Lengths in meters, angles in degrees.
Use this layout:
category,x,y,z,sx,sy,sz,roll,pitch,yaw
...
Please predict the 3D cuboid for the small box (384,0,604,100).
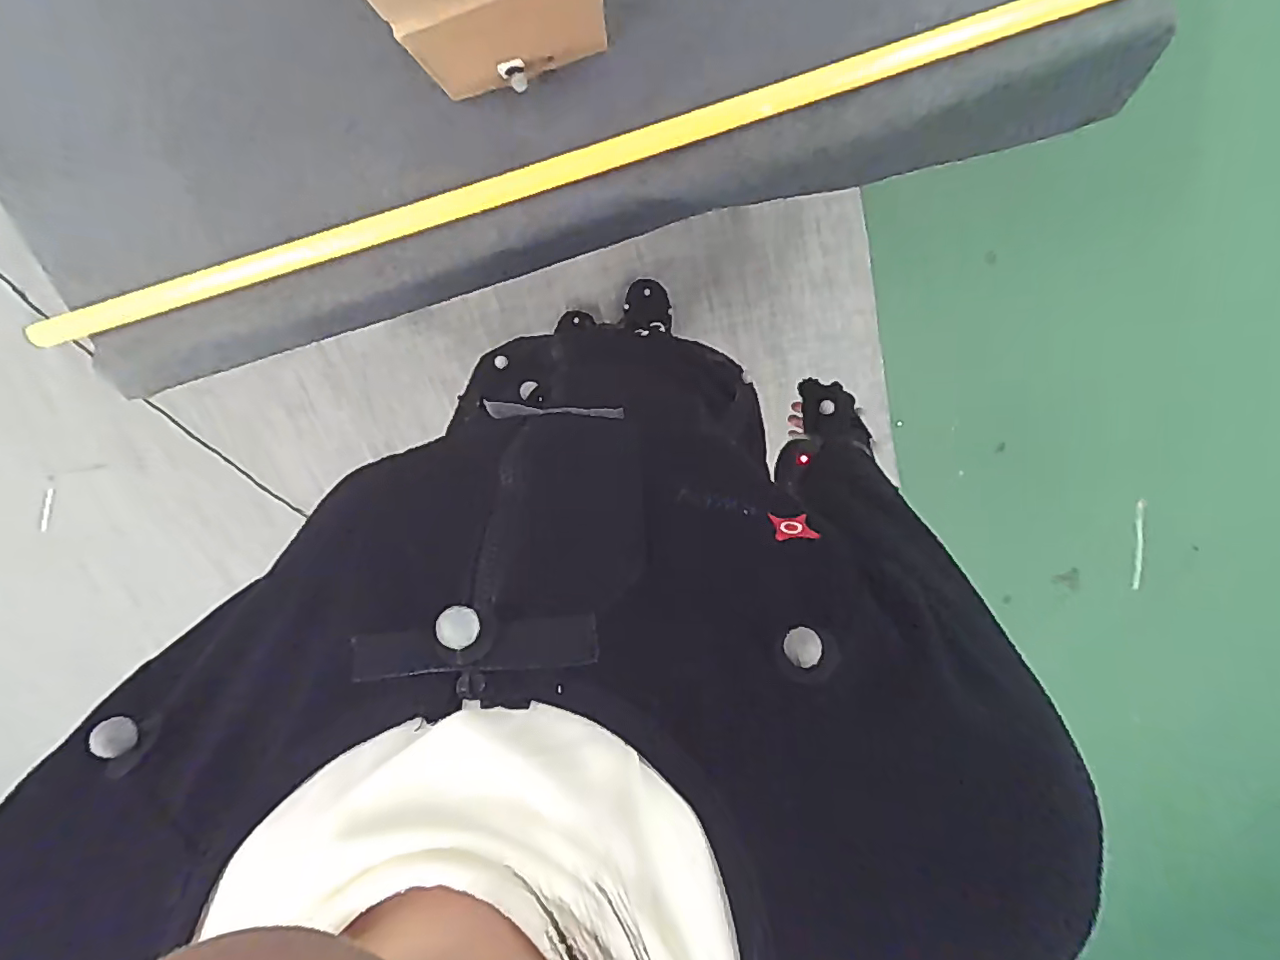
category,x,y,z,sx,sy,sz,roll,pitch,yaw
small box,-0.134,-0.463,0.451,0.168,0.176,0.179,-17,110,5
